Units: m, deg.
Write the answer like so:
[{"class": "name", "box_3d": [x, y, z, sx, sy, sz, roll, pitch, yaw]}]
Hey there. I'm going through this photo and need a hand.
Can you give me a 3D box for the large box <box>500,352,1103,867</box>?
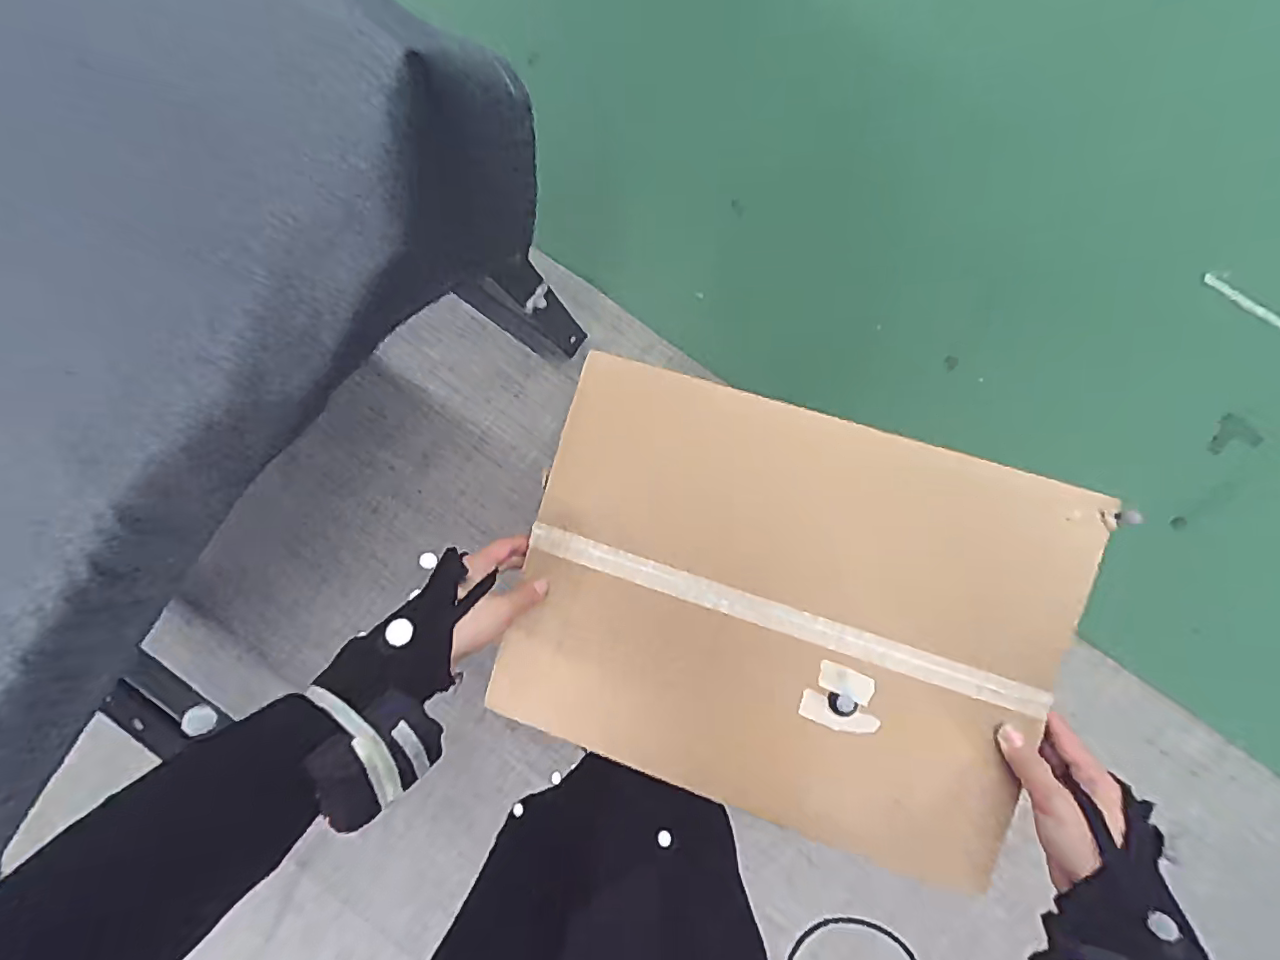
[{"class": "large box", "box_3d": [0.128, 0.092, 0.570, 0.408, 0.320, 0.320, 17, 93, 8]}]
